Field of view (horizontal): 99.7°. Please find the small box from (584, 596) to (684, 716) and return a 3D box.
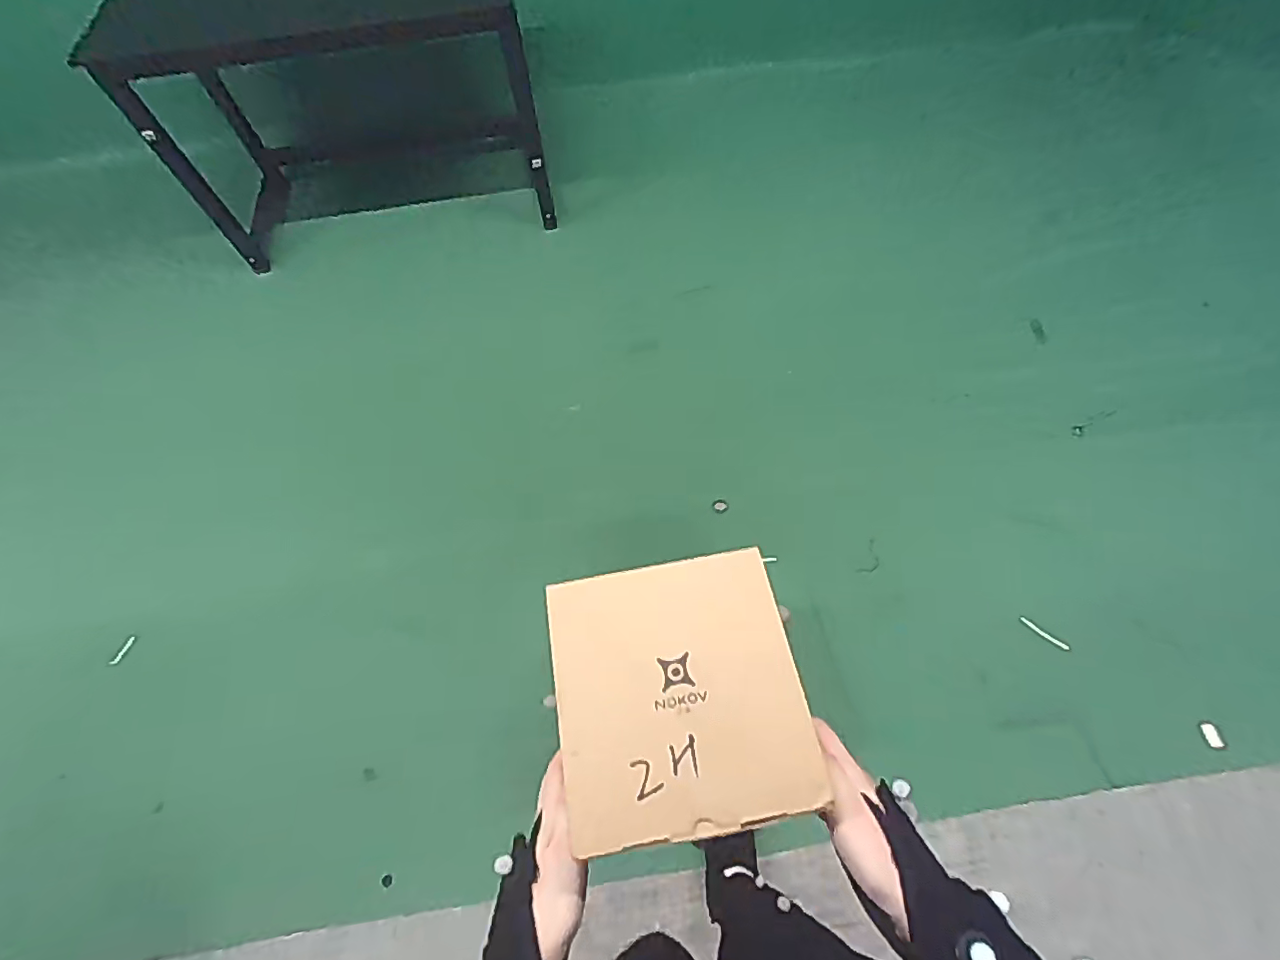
[{"bbox_3d":[-0.013,0.327,0.996,0.168,0.176,0.179,-5,62,0],"label":"small box"}]
